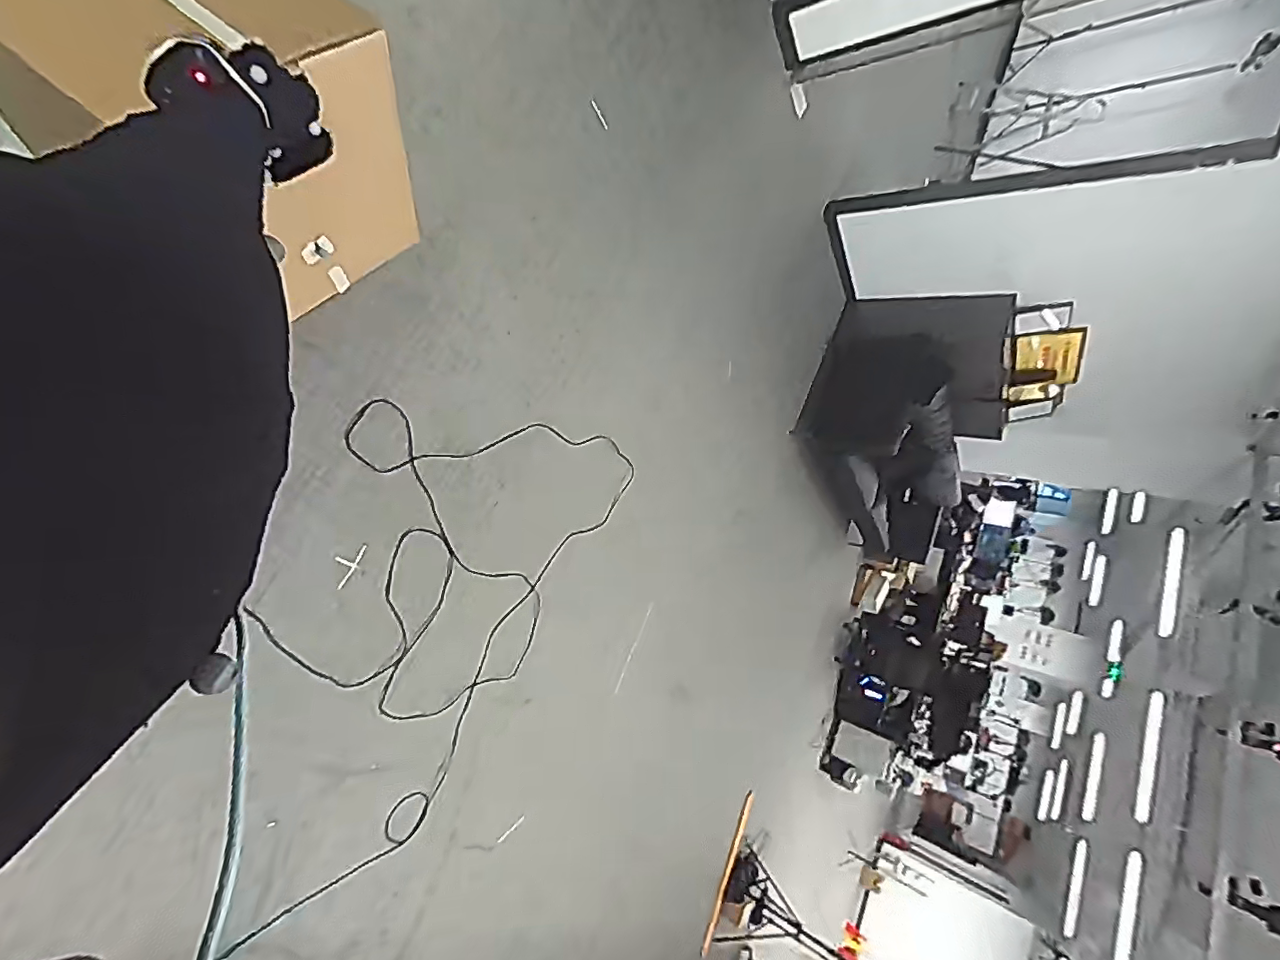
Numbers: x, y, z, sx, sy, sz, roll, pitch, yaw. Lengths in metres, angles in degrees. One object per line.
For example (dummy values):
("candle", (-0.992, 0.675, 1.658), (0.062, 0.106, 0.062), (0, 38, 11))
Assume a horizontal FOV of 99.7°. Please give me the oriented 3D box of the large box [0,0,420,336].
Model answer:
("large box", (-0.576, -0.478, 0.726), (0.320, 0.408, 0.320), (-50, 174, -29))
